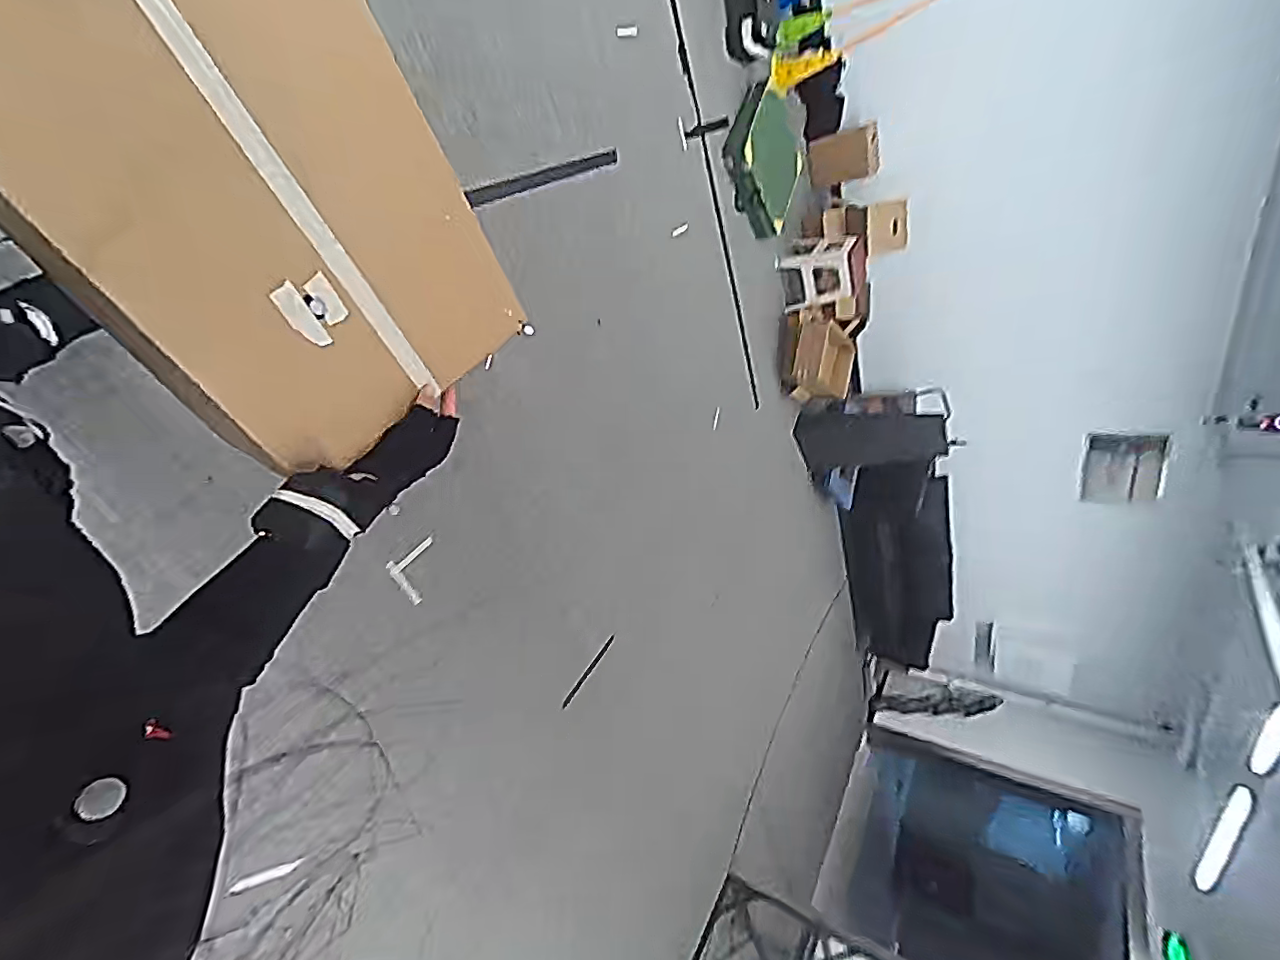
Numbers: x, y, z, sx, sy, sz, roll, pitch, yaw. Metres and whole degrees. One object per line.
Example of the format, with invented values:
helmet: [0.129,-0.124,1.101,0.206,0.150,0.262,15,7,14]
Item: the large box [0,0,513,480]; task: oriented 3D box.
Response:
large box: [-0.420,-0.269,0.569,0.320,0.320,0.408,-50,136,-27]
